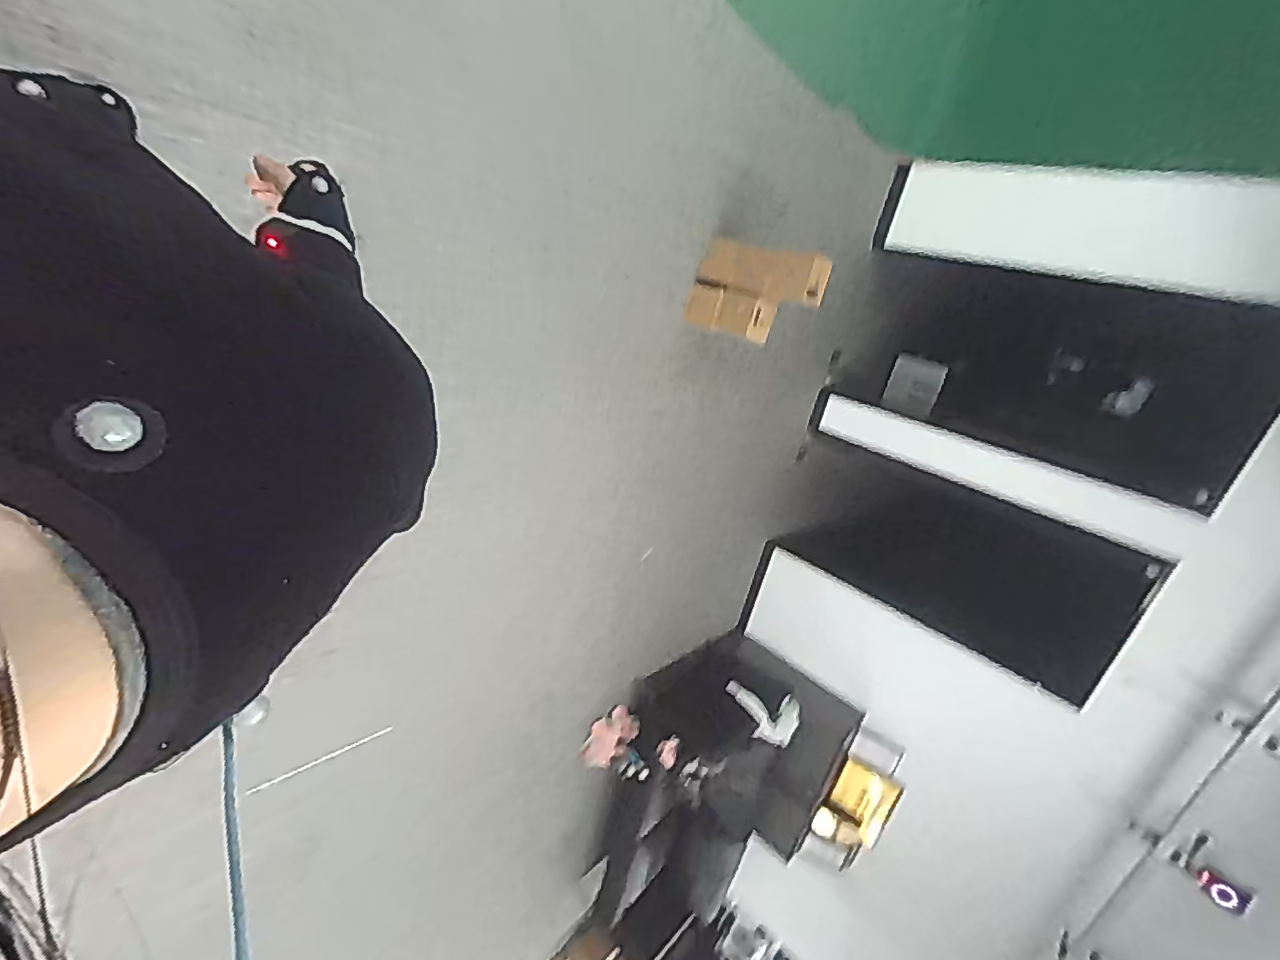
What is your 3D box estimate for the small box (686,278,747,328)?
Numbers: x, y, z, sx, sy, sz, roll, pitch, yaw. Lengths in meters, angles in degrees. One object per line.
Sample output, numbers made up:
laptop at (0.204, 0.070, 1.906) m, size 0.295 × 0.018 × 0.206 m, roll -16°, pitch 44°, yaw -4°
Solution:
small box at (0.329, -0.771, 2.345) m, size 0.179 × 0.176 × 0.168 m, roll -9°, pitch 120°, yaw -47°
